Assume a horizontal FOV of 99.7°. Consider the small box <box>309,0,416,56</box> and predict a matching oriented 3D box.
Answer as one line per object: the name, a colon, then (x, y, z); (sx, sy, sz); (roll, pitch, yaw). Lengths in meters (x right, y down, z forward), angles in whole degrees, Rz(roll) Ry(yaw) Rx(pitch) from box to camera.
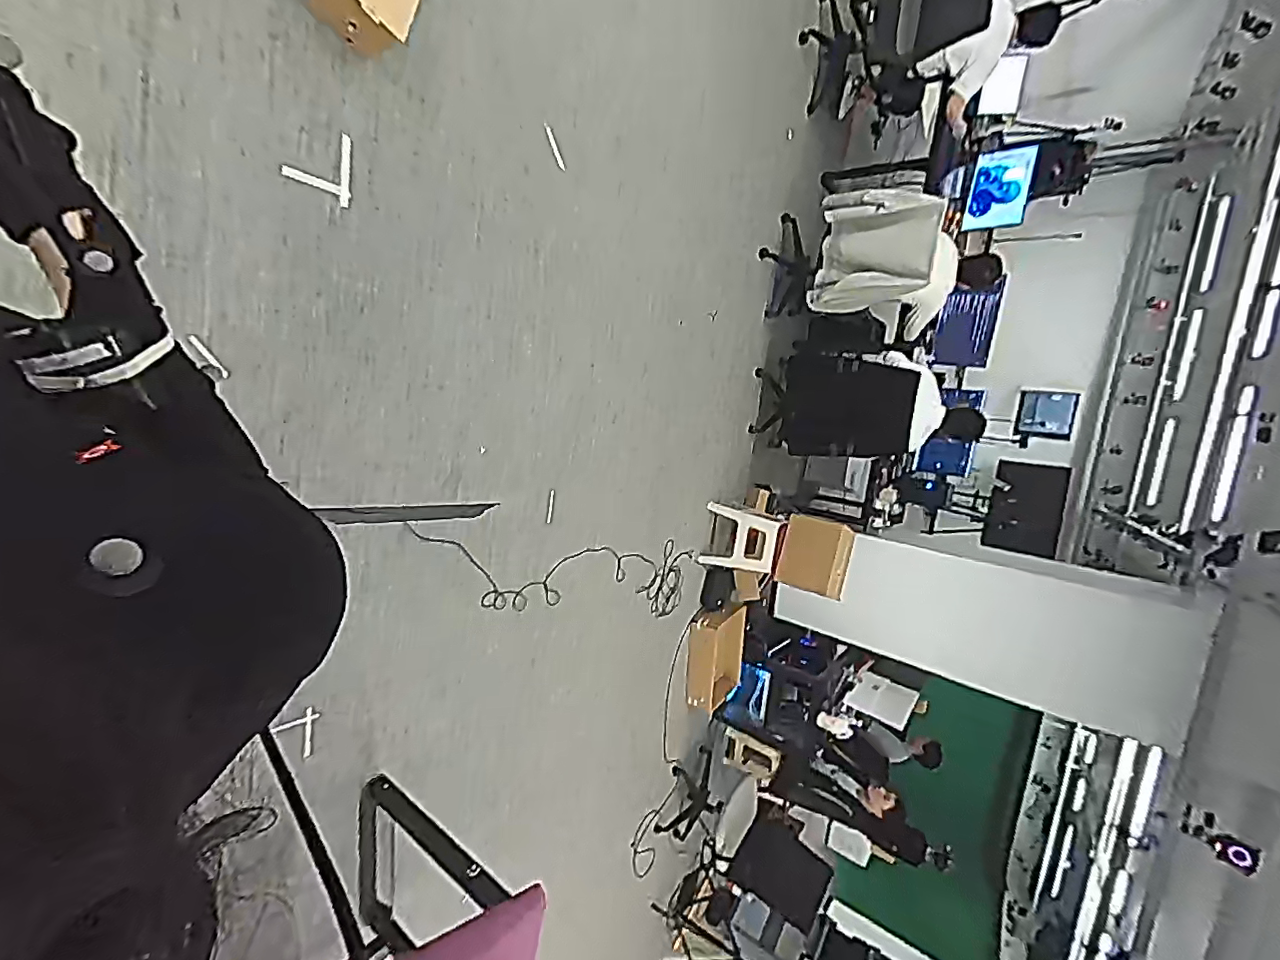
small box: (-0.660, -1.162, 1.282); (0.168, 0.176, 0.179); (25, 80, -55)
